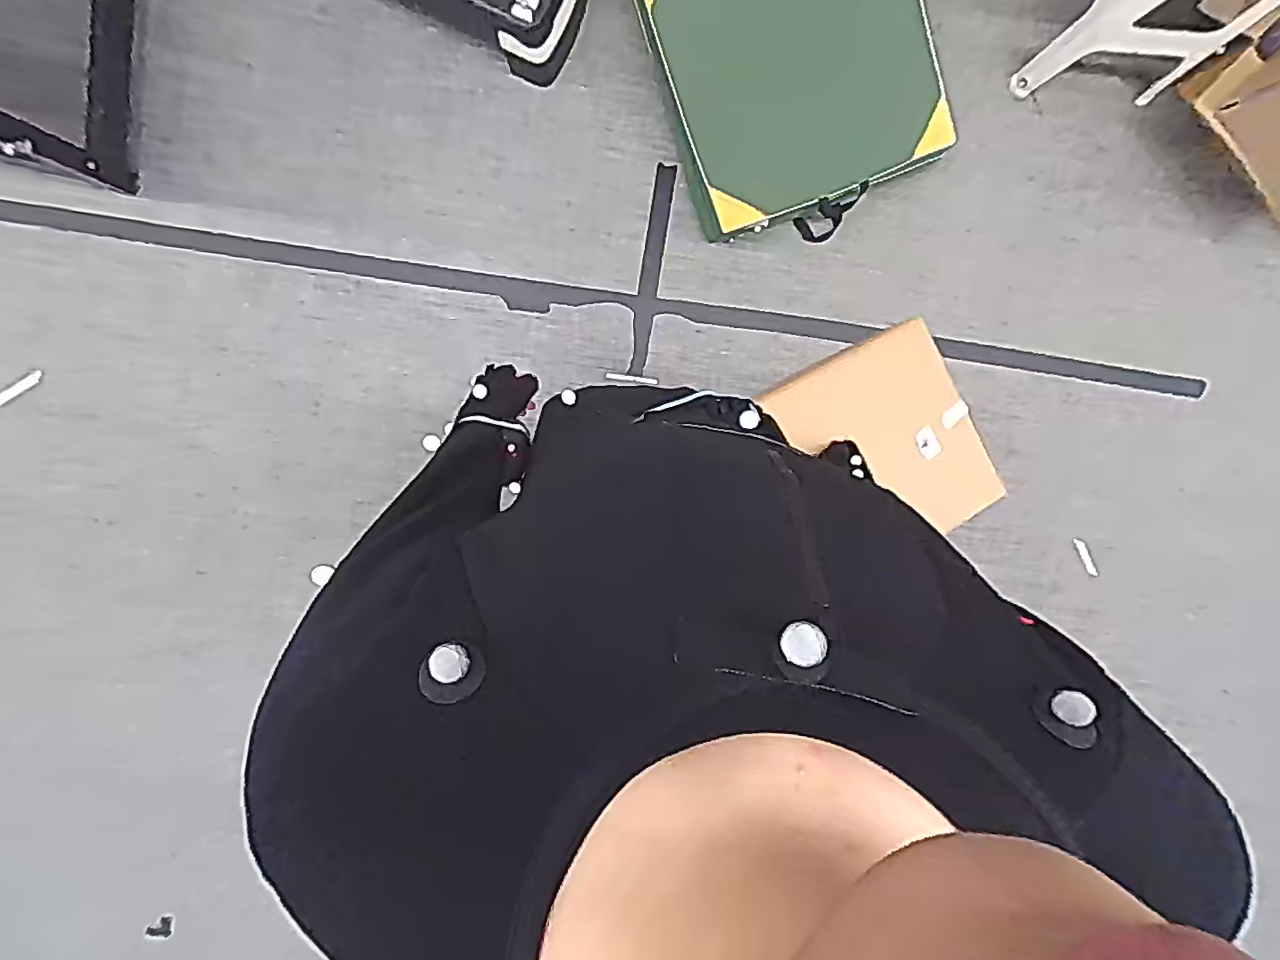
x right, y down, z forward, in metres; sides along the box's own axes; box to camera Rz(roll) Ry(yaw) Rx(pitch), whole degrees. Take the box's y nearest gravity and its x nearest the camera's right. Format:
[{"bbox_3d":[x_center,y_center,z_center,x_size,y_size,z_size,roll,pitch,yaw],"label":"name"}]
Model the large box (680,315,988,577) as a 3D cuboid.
[{"bbox_3d":[0.321,-0.048,1.008,0.320,0.408,0.320,-28,92,-11],"label":"large box"}]
